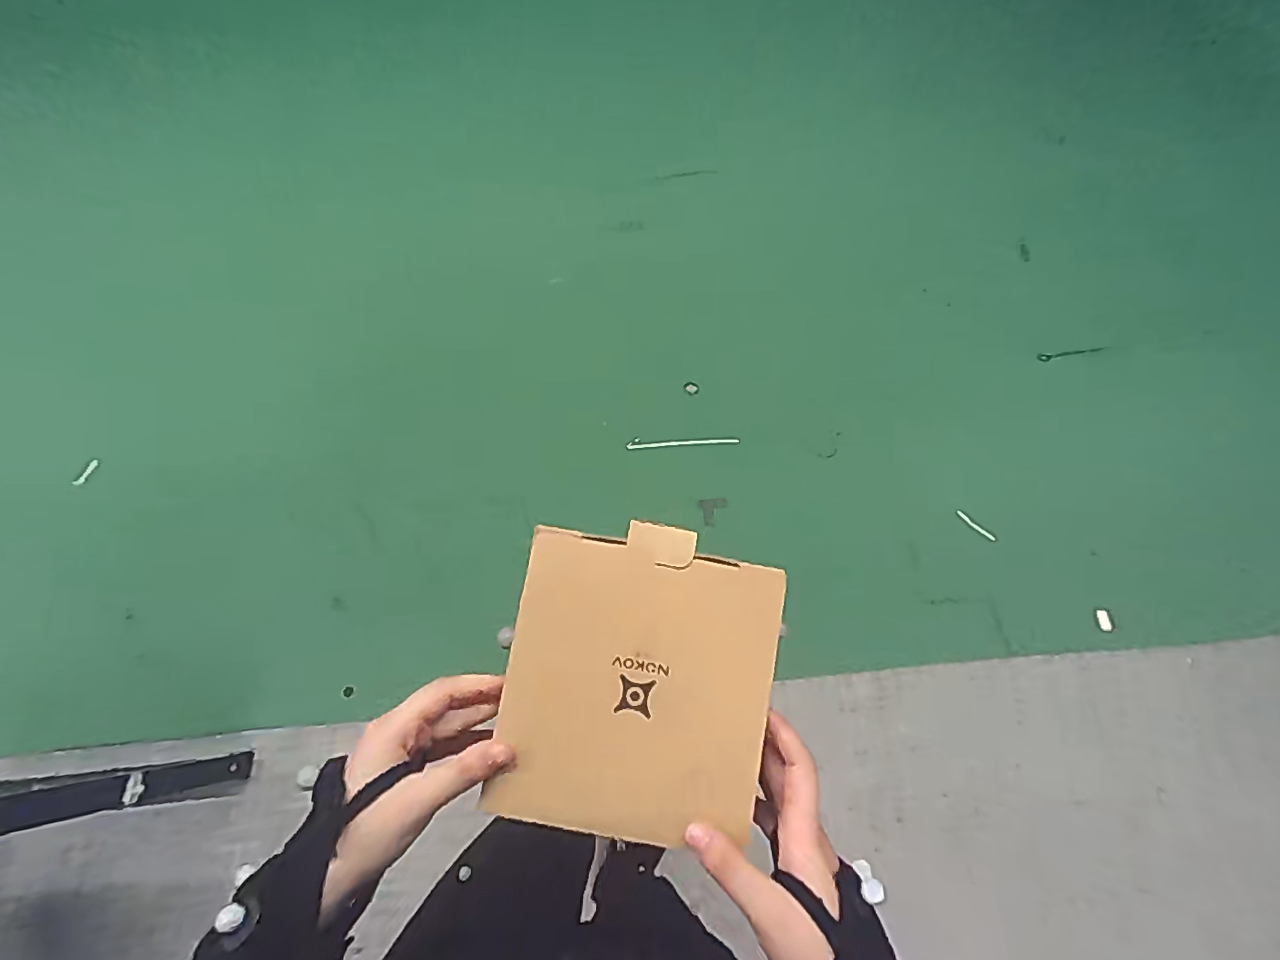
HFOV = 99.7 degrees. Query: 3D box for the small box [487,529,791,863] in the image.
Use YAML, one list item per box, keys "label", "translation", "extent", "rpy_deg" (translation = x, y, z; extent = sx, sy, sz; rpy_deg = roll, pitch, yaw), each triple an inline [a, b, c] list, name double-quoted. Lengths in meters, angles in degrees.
- label: "small box"
  translation: [0.001, 0.140, 0.412]
  extent: [0.168, 0.176, 0.179]
  rpy_deg: [10, 82, 1]
